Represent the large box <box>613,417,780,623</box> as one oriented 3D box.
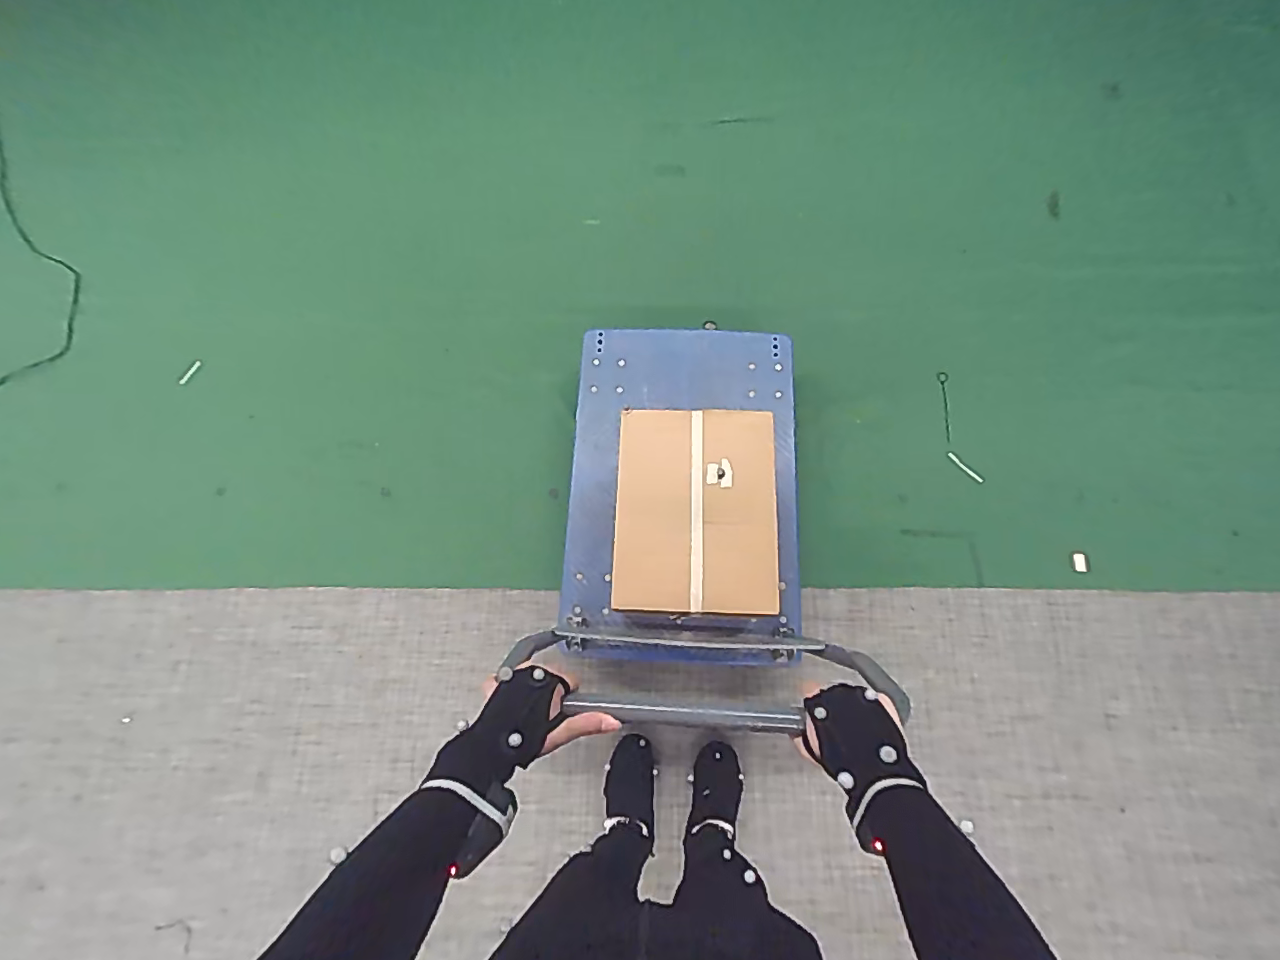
[{"bbox_3d":[0.117,0.105,1.196,0.320,0.320,0.408,2,73,2],"label":"large box"}]
